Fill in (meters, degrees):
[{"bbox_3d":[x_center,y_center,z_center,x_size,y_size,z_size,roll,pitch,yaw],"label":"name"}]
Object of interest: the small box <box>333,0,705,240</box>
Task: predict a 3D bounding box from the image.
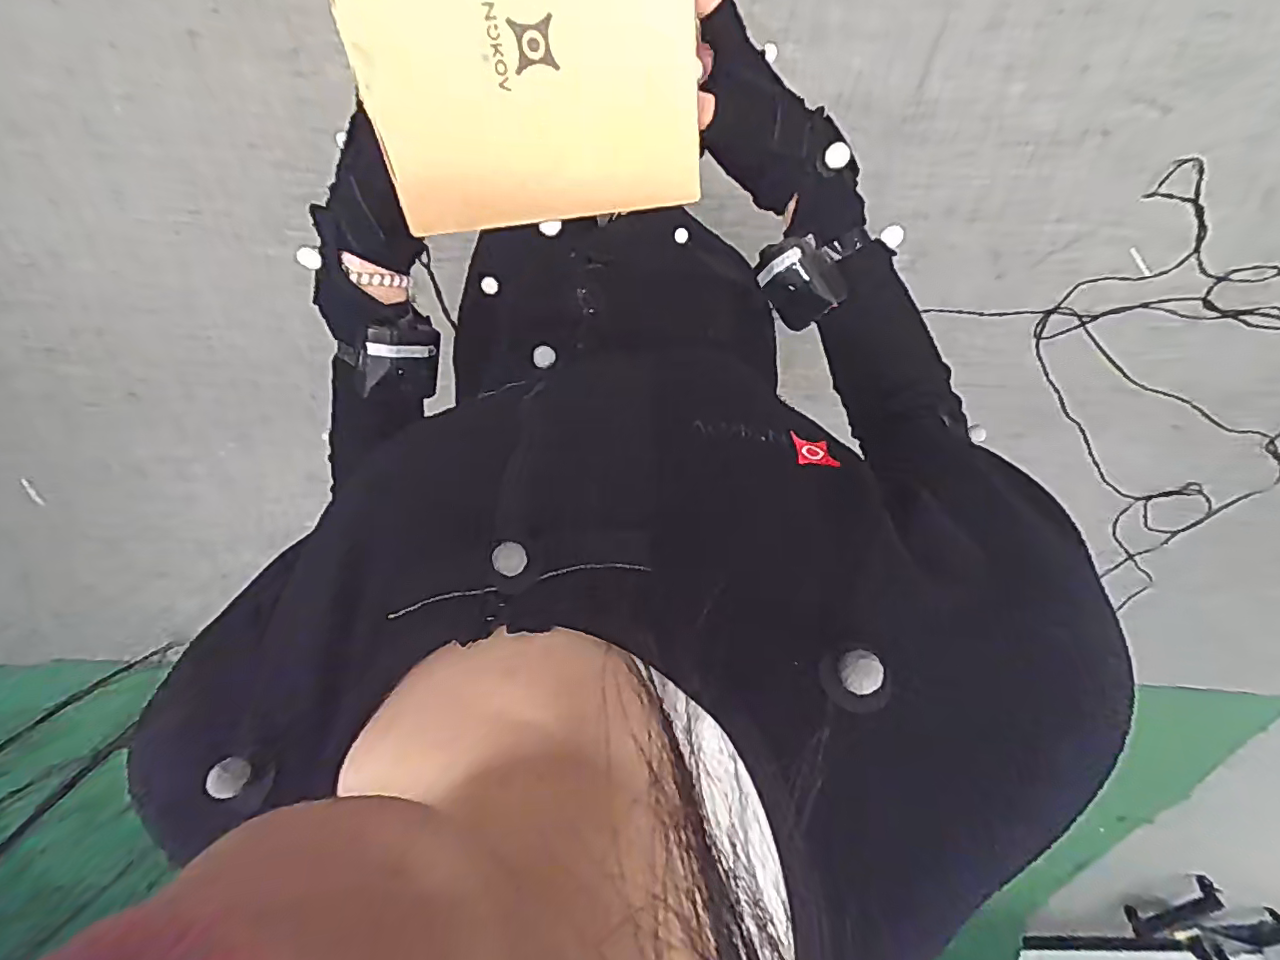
[{"bbox_3d":[-0.061,-0.264,0.330,0.179,0.176,0.168,-7,129,1],"label":"small box"}]
